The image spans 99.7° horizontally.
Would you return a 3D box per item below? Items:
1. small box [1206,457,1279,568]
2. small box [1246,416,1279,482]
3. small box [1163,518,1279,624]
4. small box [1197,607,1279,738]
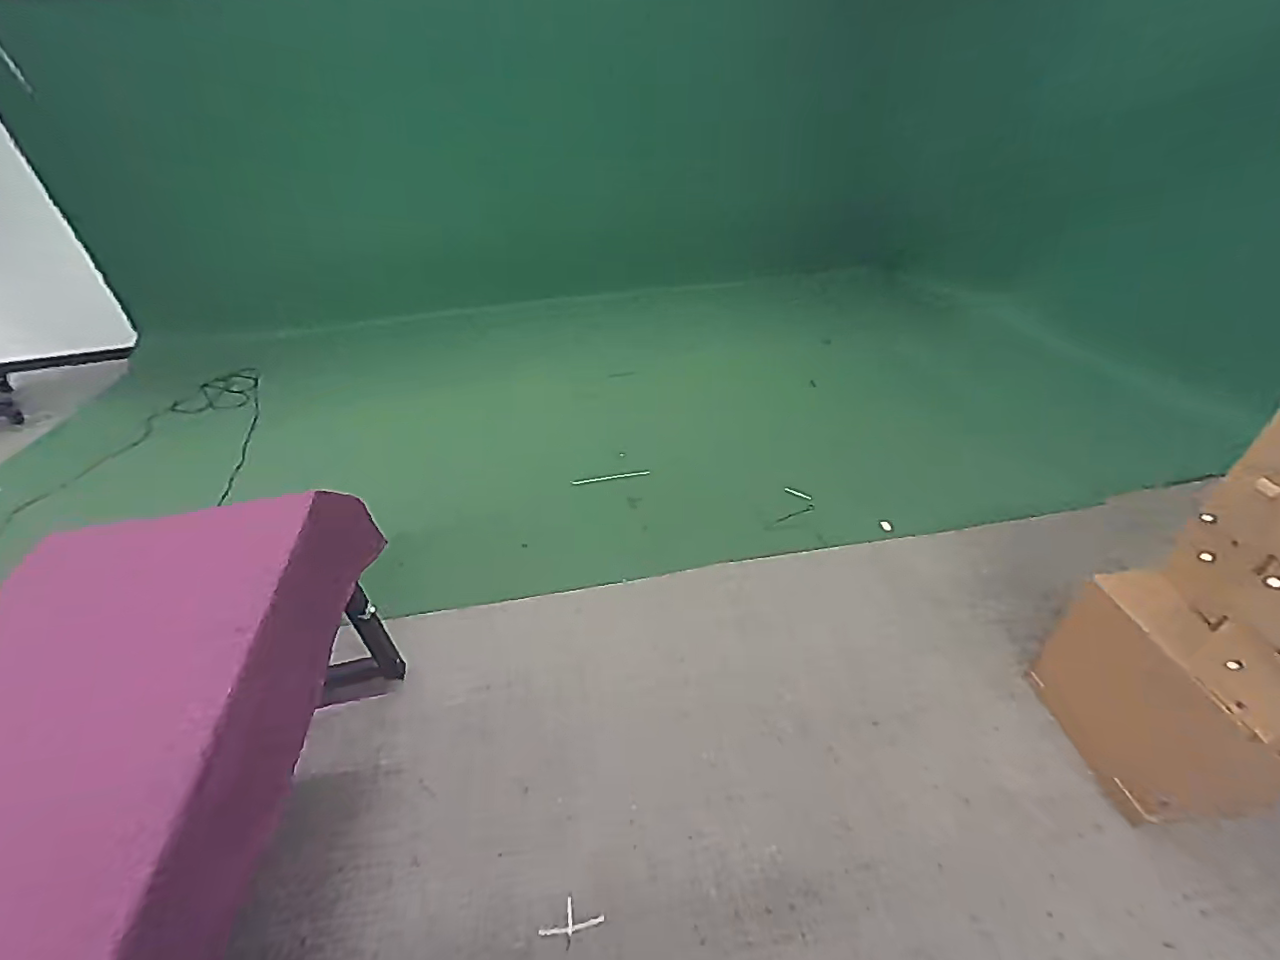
[{"bbox_3d":[1.327,0.068,1.101,0.179,0.176,0.168,0,38,5],"label":"small box"},{"bbox_3d":[1.323,-0.066,1.003,0.179,0.176,0.168,-4,37,-1],"label":"small box"},{"bbox_3d":[1.336,0.201,1.197,0.168,0.176,0.179,-2,39,4],"label":"small box"},{"bbox_3d":[1.213,0.356,1.007,0.179,0.176,0.168,-7,38,-3],"label":"small box"}]
